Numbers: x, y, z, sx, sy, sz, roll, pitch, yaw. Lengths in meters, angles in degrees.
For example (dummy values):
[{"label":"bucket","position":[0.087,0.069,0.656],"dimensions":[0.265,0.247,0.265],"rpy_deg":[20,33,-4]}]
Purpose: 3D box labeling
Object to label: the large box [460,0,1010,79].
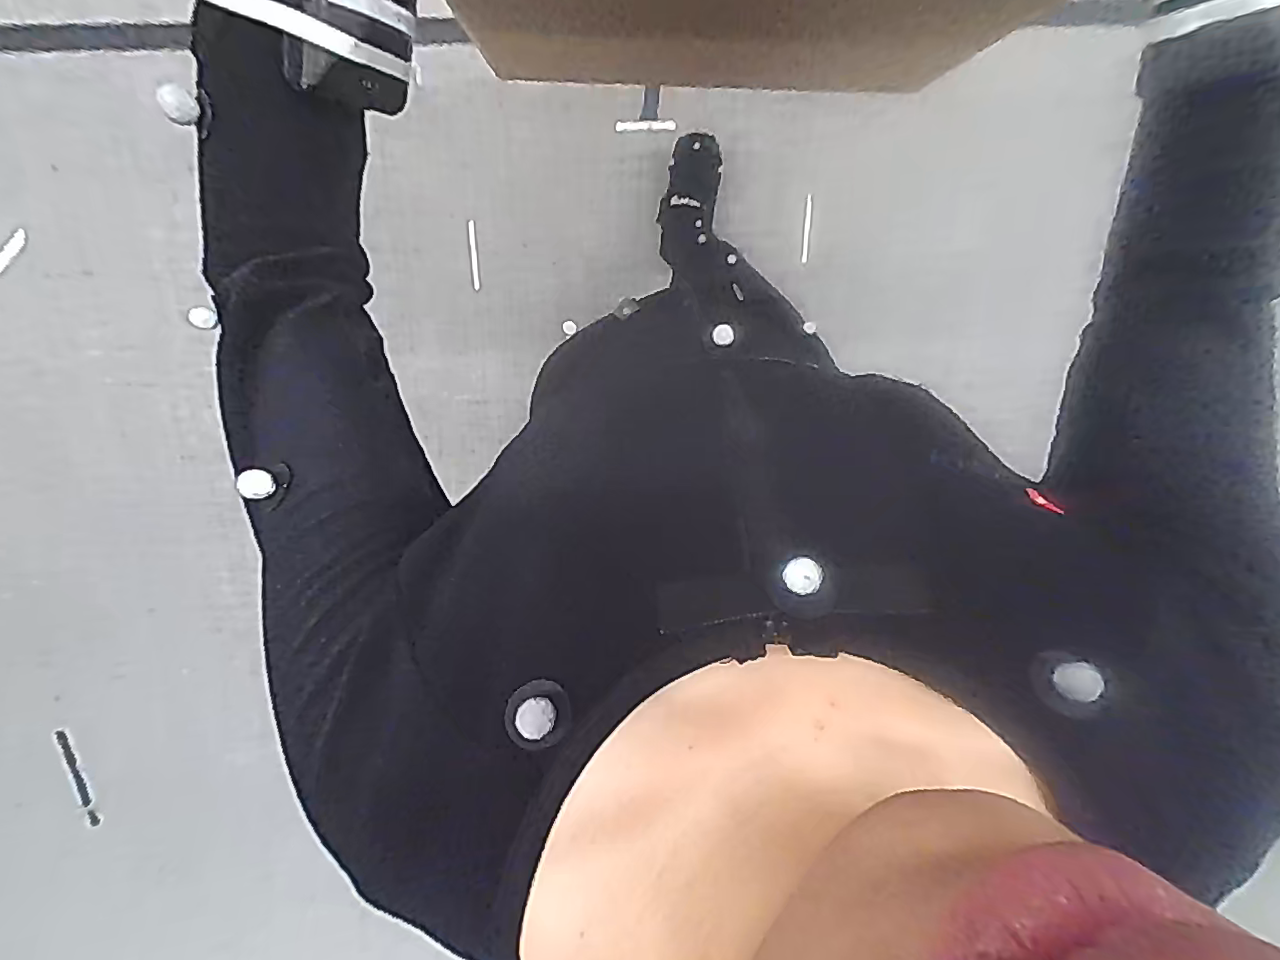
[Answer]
[{"label":"large box","position":[0.068,-0.477,0.327],"dimensions":[0.408,0.320,0.320],"rpy_deg":[0,111,-2]}]
